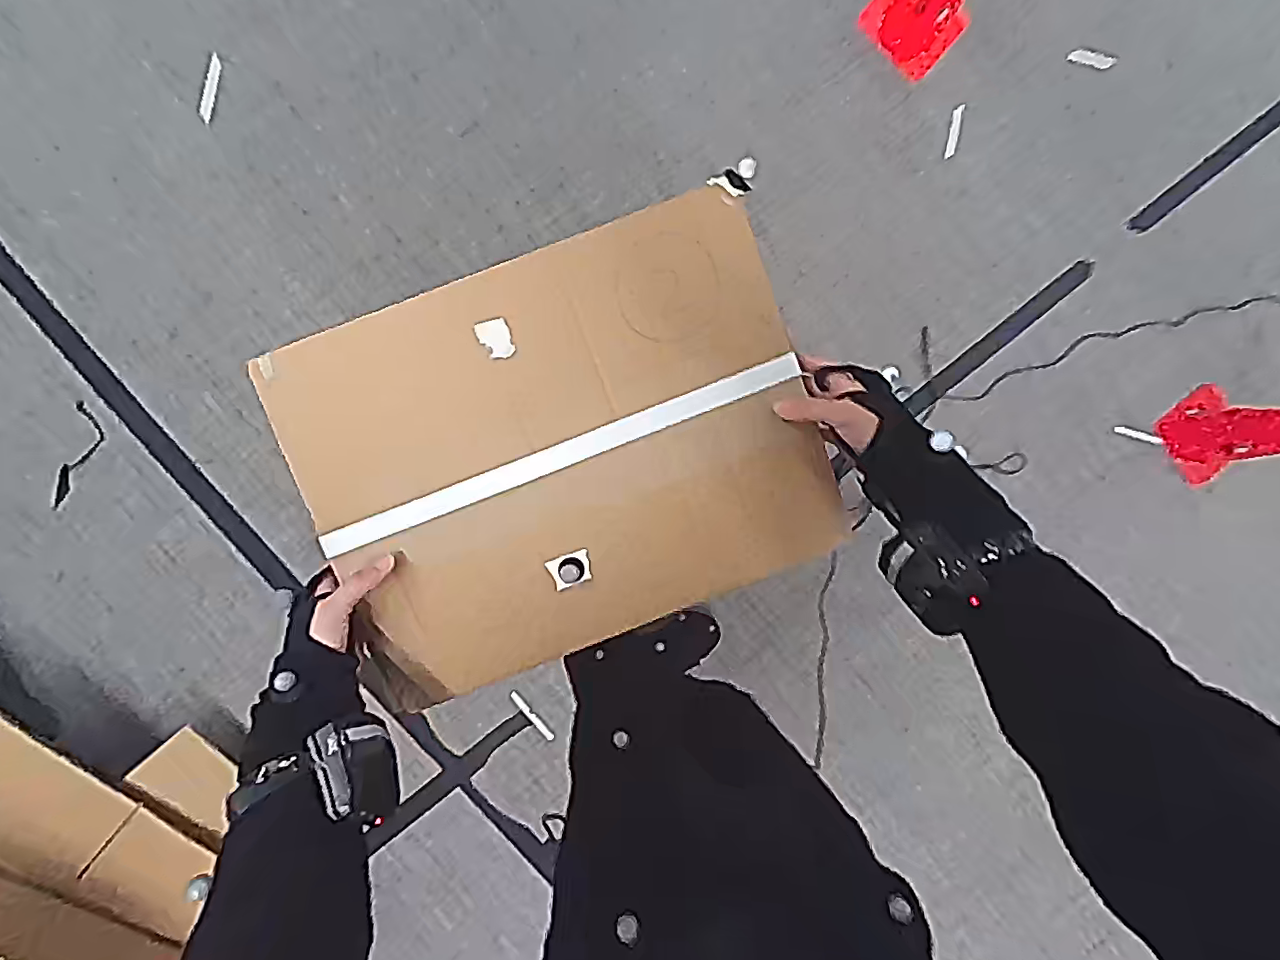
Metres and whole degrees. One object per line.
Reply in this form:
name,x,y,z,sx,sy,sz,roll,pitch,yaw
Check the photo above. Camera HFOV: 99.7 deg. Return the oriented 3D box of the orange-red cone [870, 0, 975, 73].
orange-red cone,0.646,-1.030,1.032,0.199,0.360,0.198,43,86,-5
